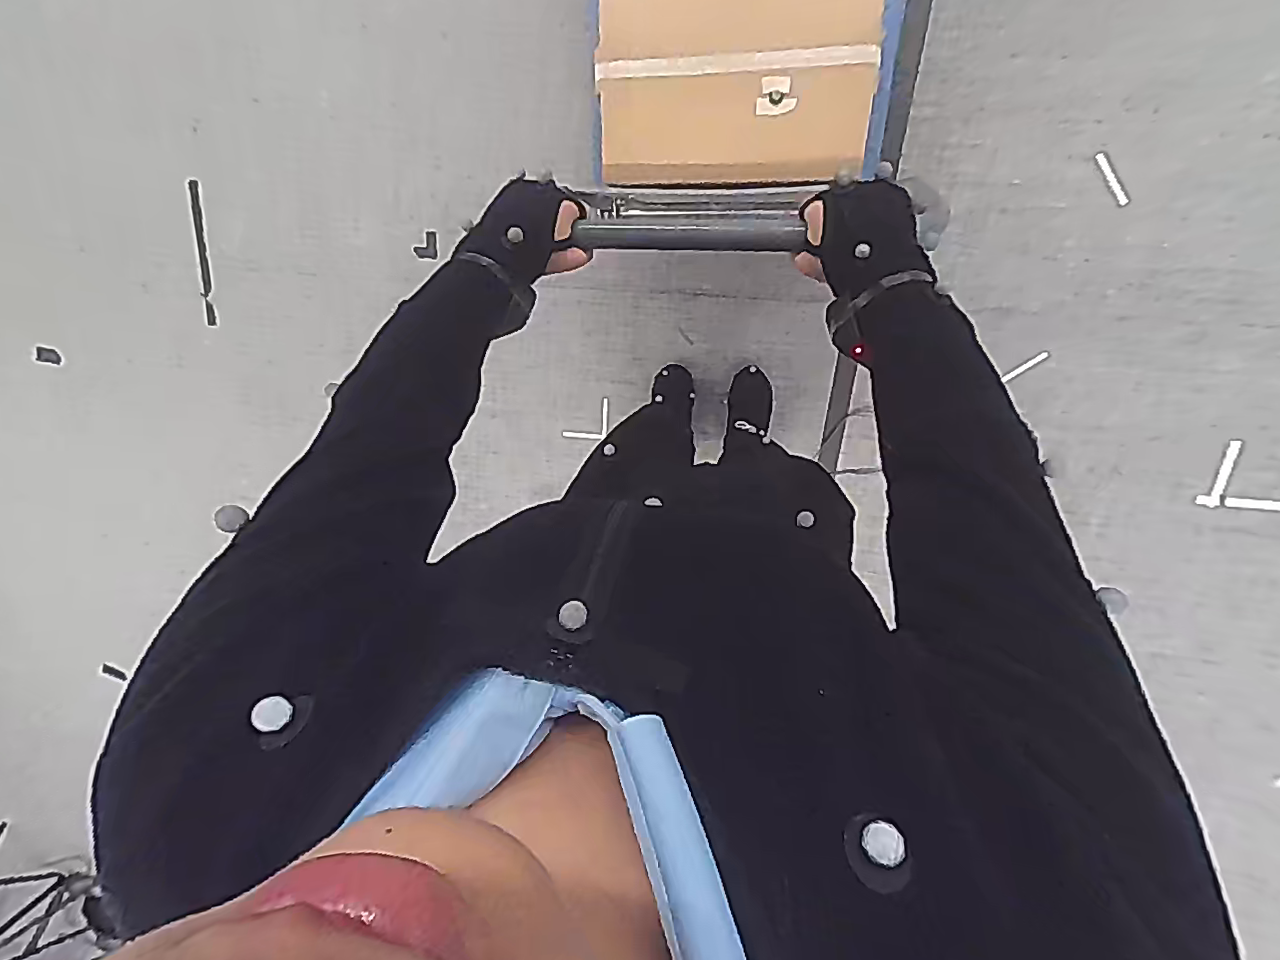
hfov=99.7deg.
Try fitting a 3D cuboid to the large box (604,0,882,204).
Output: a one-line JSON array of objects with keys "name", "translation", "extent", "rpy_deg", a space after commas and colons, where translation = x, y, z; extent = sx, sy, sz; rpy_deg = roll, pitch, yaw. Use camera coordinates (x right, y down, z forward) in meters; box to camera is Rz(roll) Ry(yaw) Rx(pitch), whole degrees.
[{"name": "large box", "translation": [0.167, -0.675, 0.944], "extent": [0.408, 0.320, 0.320], "rpy_deg": [4, 113, 9]}]
